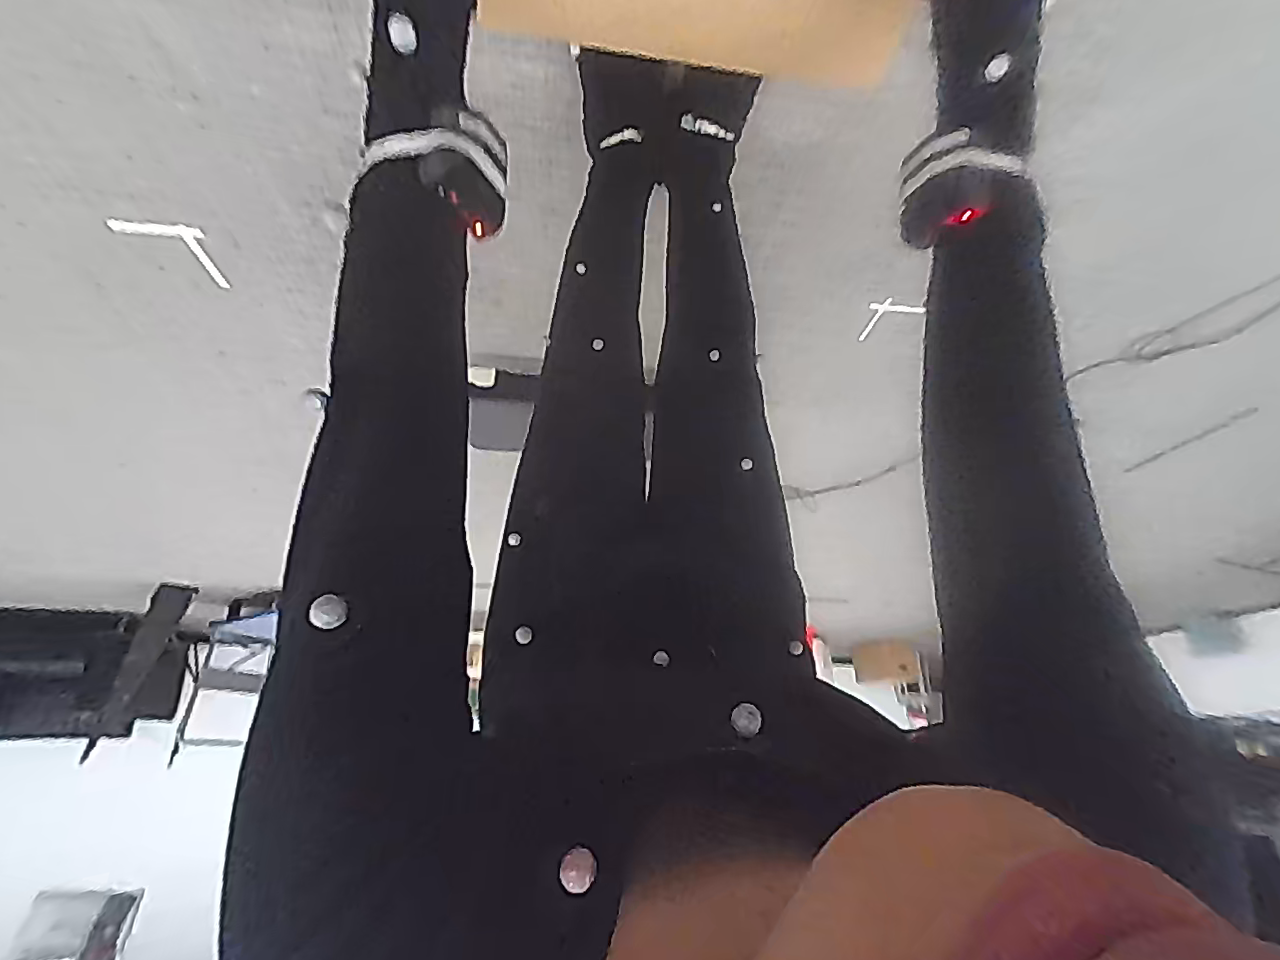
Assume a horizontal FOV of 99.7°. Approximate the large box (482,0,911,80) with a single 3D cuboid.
[{"bbox_3d":[0.062,-0.622,0.472,0.408,0.320,0.320,3,153,-7],"label":"large box"}]
